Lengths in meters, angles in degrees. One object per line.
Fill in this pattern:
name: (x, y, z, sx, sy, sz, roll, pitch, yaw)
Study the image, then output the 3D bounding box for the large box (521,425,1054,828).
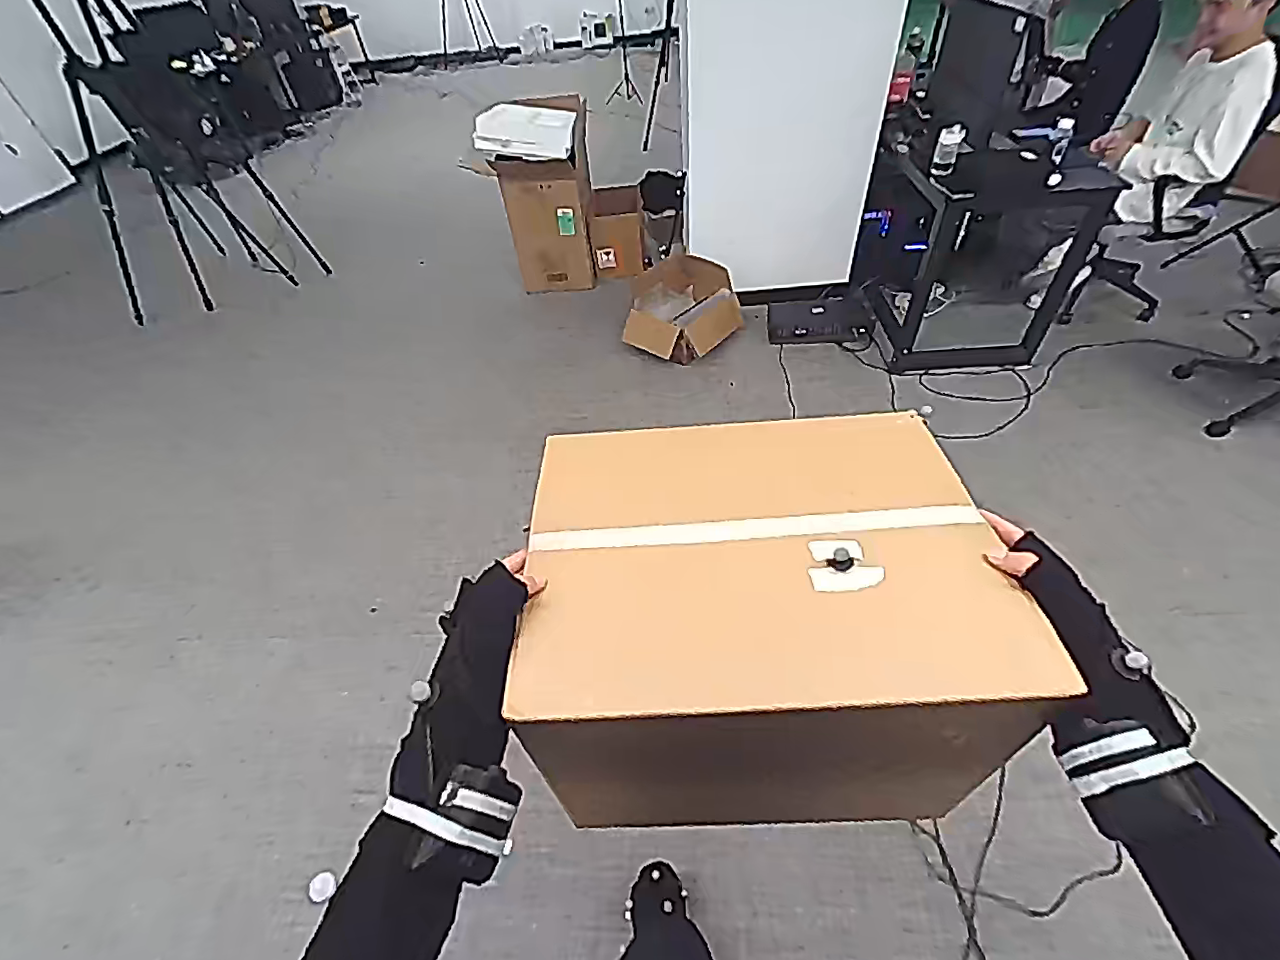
large box: (0.113, 0.165, 0.607, 0.408, 0.320, 0.320, -4, 44, 3)
